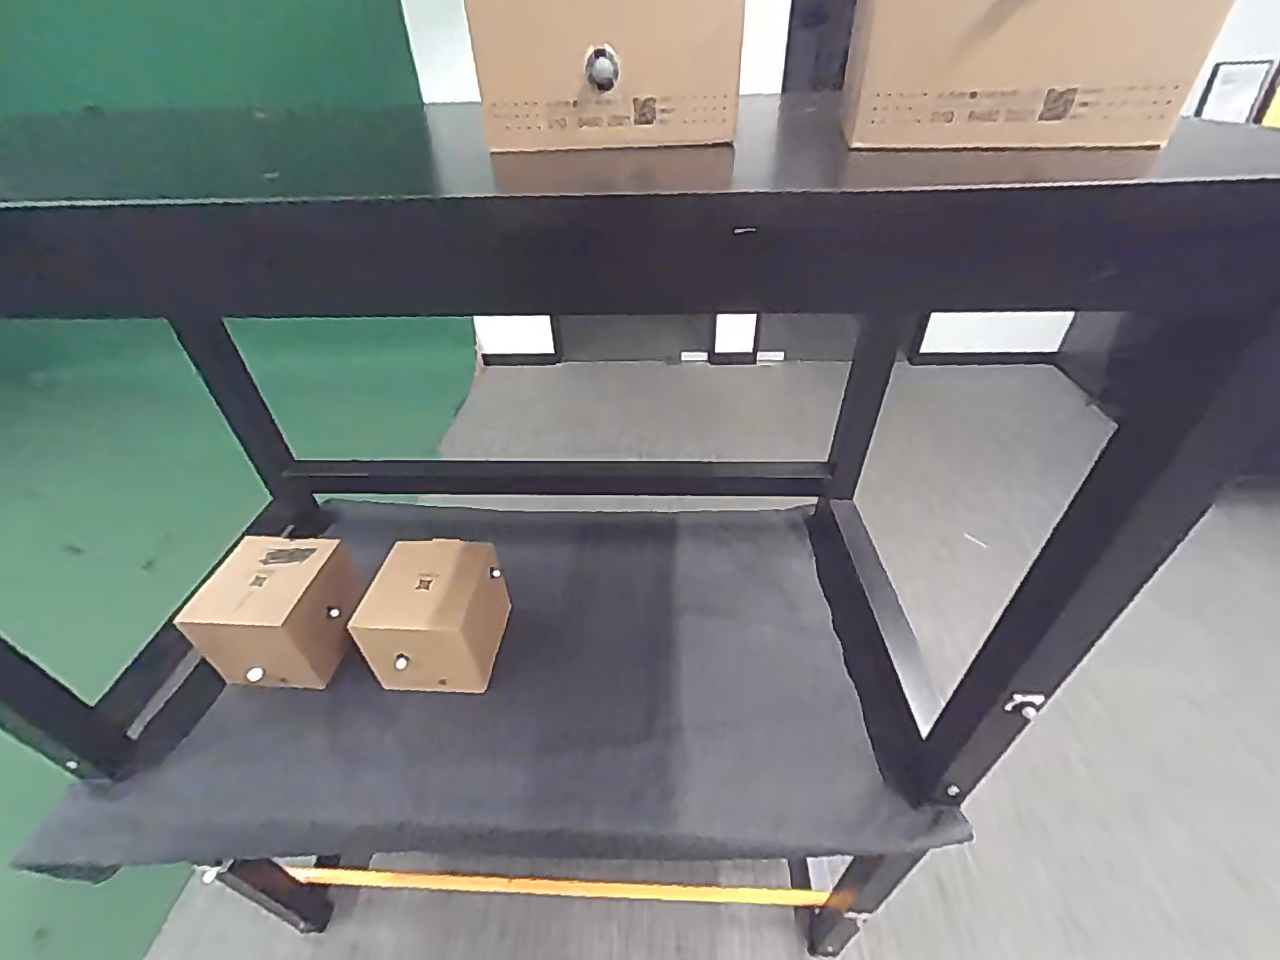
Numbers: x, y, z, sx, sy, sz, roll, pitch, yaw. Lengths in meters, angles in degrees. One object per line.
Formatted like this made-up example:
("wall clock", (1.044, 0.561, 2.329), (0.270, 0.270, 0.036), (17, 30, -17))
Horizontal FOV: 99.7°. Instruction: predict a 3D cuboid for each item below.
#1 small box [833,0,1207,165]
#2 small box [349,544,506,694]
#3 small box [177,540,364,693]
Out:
("small box", (0.220, -0.301, 0.332), (0.168, 0.176, 0.179), (7, 39, 11))
("small box", (-0.325, 0.224, 0.872), (0.168, 0.176, 0.179), (1, 38, 3))
("small box", (-0.577, 0.219, 0.883), (0.168, 0.176, 0.179), (1, 39, 3))
